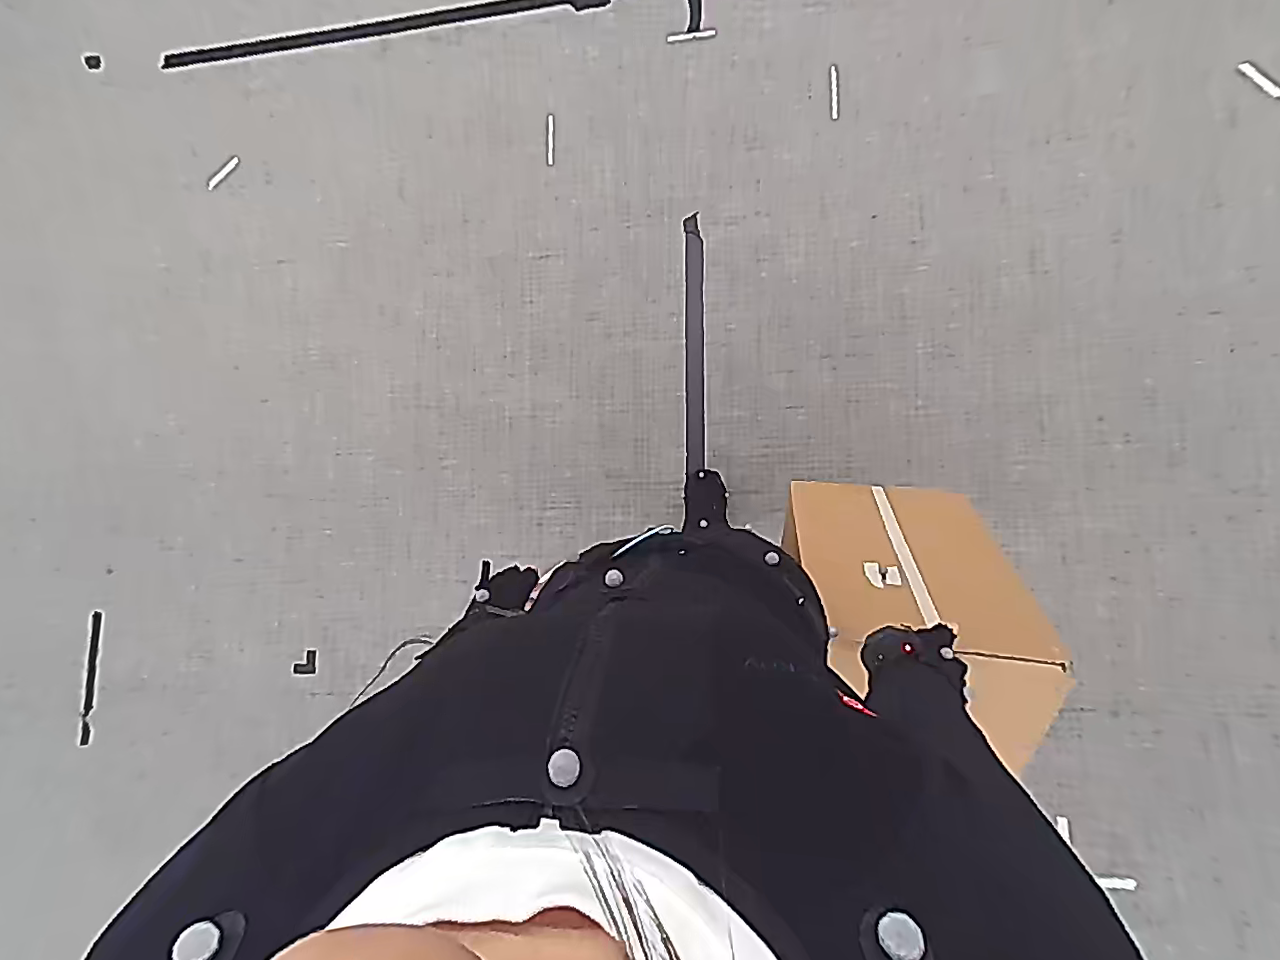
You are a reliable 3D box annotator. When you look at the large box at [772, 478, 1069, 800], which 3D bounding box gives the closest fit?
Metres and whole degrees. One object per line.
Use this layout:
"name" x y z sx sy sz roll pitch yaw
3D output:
"large box" 0.402 0.237 0.913 0.320 0.408 0.320 3 122 10
